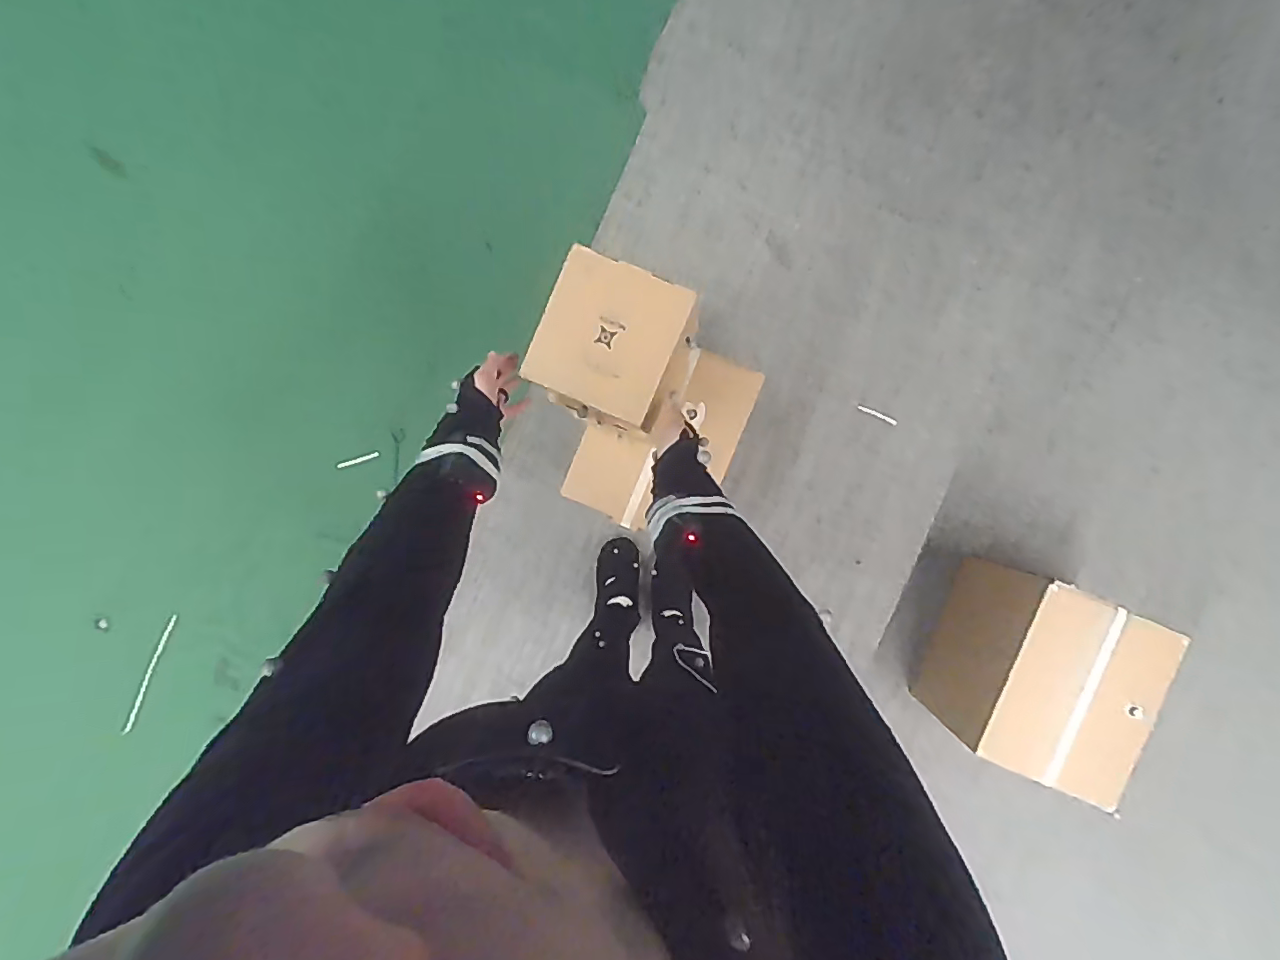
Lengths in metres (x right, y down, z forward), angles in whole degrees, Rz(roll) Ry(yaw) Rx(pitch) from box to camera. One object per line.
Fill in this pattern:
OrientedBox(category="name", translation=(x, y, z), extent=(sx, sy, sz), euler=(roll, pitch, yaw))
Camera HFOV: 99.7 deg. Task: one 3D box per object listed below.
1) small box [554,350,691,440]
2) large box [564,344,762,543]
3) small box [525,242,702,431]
OrientedBox(category="small box", translation=(-0.020, -0.177, 0.893), extent=(0.168, 0.176, 0.179), euler=(23, 94, 5))
OrientedBox(category="large box", translation=(0.055, -0.103, 1.299), extent=(0.320, 0.320, 0.408), euler=(23, 92, 2))
OrientedBox(category="small box", translation=(-0.028, -0.179, 0.729), extent=(0.168, 0.176, 0.179), euler=(25, 94, 5))
